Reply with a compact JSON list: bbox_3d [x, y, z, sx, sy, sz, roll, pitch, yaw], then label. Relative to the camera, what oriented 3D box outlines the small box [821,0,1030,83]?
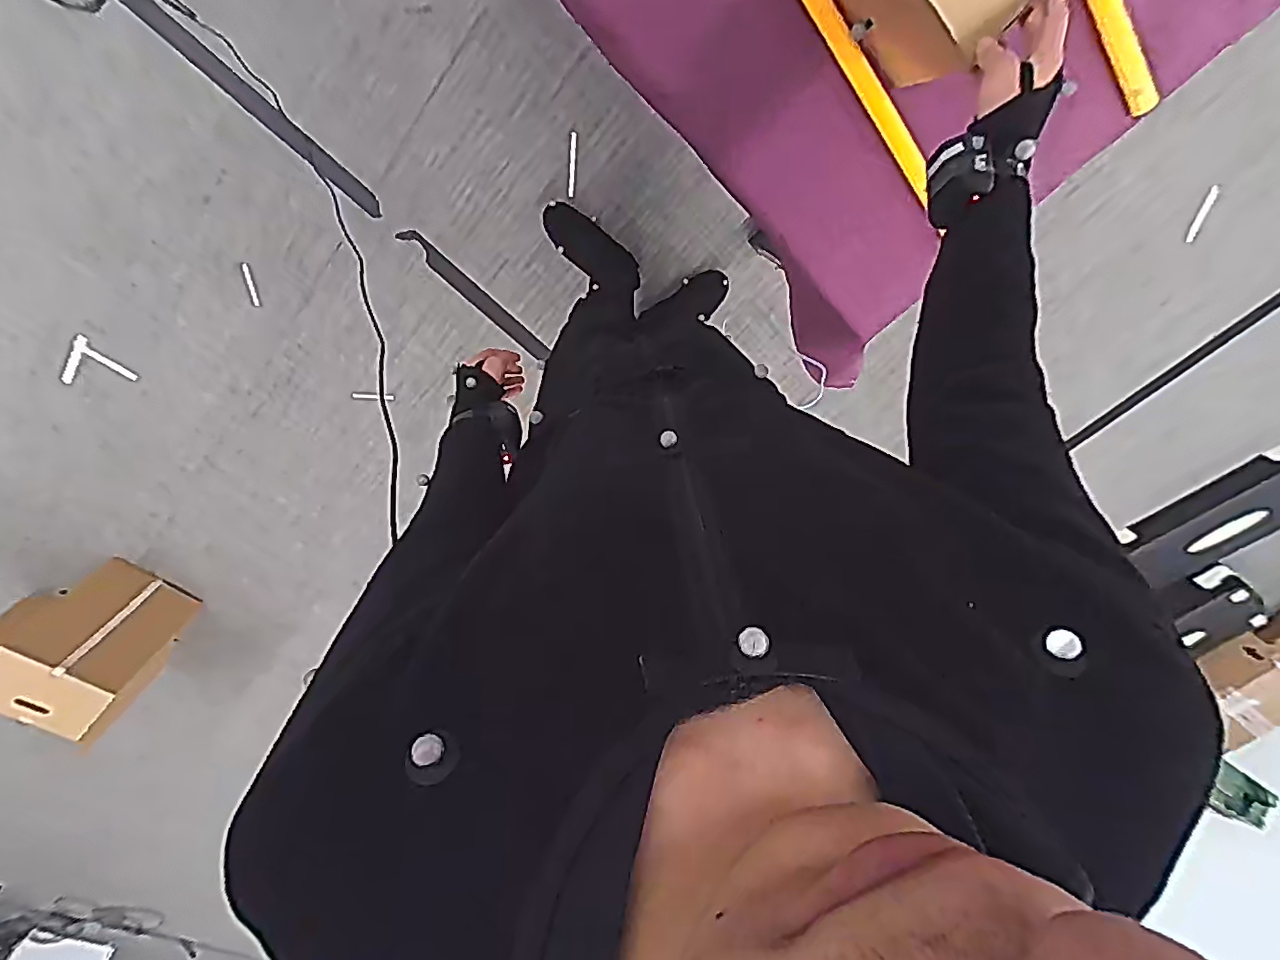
[{"bbox_3d":[0.300,-0.542,0.546,0.179,0.176,0.168,36,113,-22],"label":"small box"}]
